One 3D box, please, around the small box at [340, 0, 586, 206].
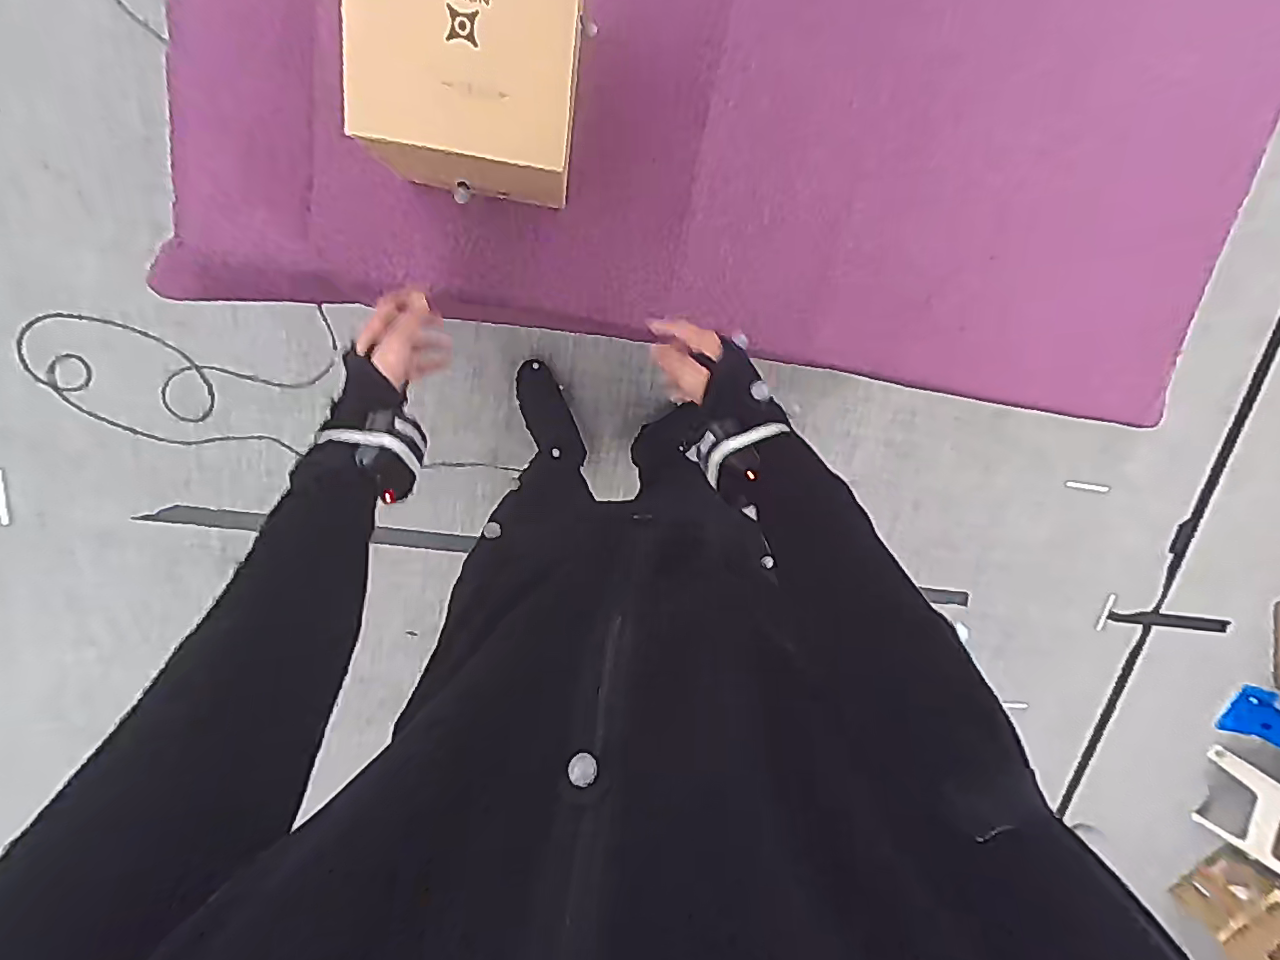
[{"bbox_3d":[-0.137,-0.358,0.463,0.168,0.176,0.179,6,106,-9],"label":"small box"}]
